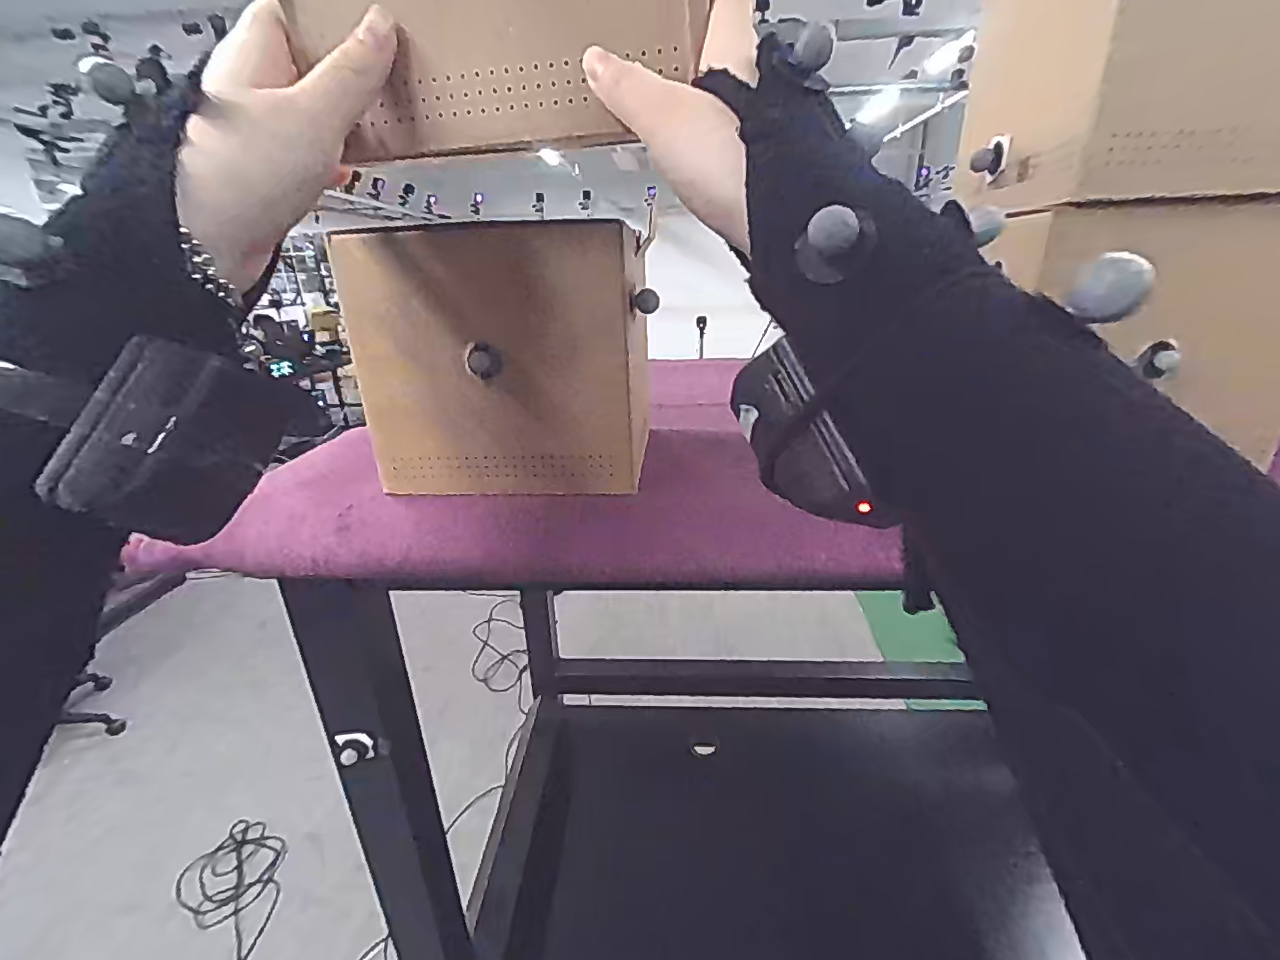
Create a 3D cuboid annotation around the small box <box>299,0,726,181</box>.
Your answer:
[{"bbox_3d":[-0.051,-0.249,0.262,0.179,0.176,0.168,-2,32,6],"label":"small box"}]

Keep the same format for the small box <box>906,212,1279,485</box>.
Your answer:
[{"bbox_3d":[0.323,-0.101,0.407,0.168,0.176,0.179,1,21,5],"label":"small box"}]

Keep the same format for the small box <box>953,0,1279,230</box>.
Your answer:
[{"bbox_3d":[0.329,-0.248,0.336,0.179,0.176,0.168,-1,20,6],"label":"small box"}]
